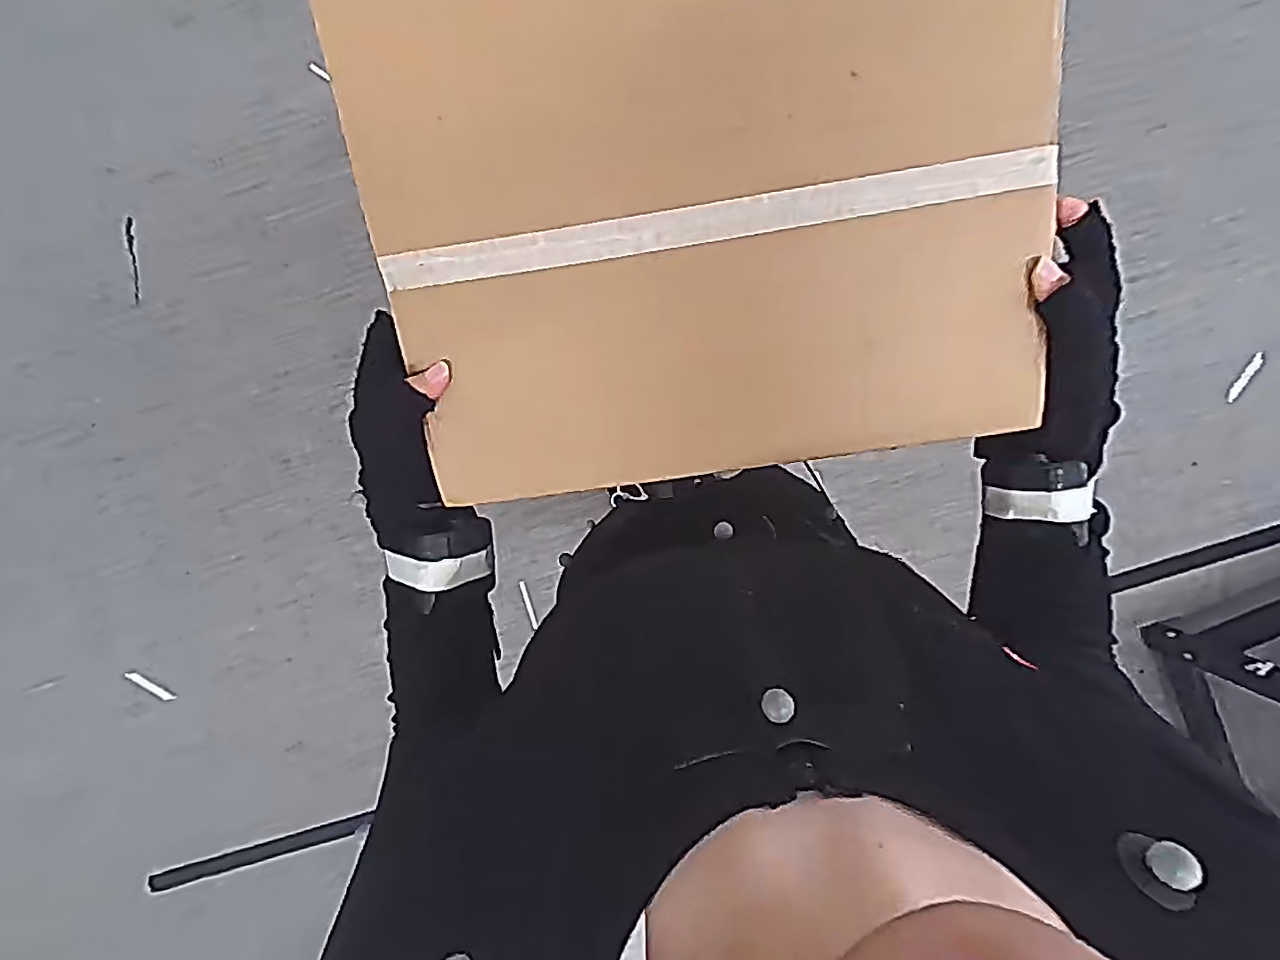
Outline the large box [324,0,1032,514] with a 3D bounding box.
[{"bbox_3d":[0.039,-0.192,0.480,0.408,0.320,0.320,-8,106,3],"label":"large box"}]
